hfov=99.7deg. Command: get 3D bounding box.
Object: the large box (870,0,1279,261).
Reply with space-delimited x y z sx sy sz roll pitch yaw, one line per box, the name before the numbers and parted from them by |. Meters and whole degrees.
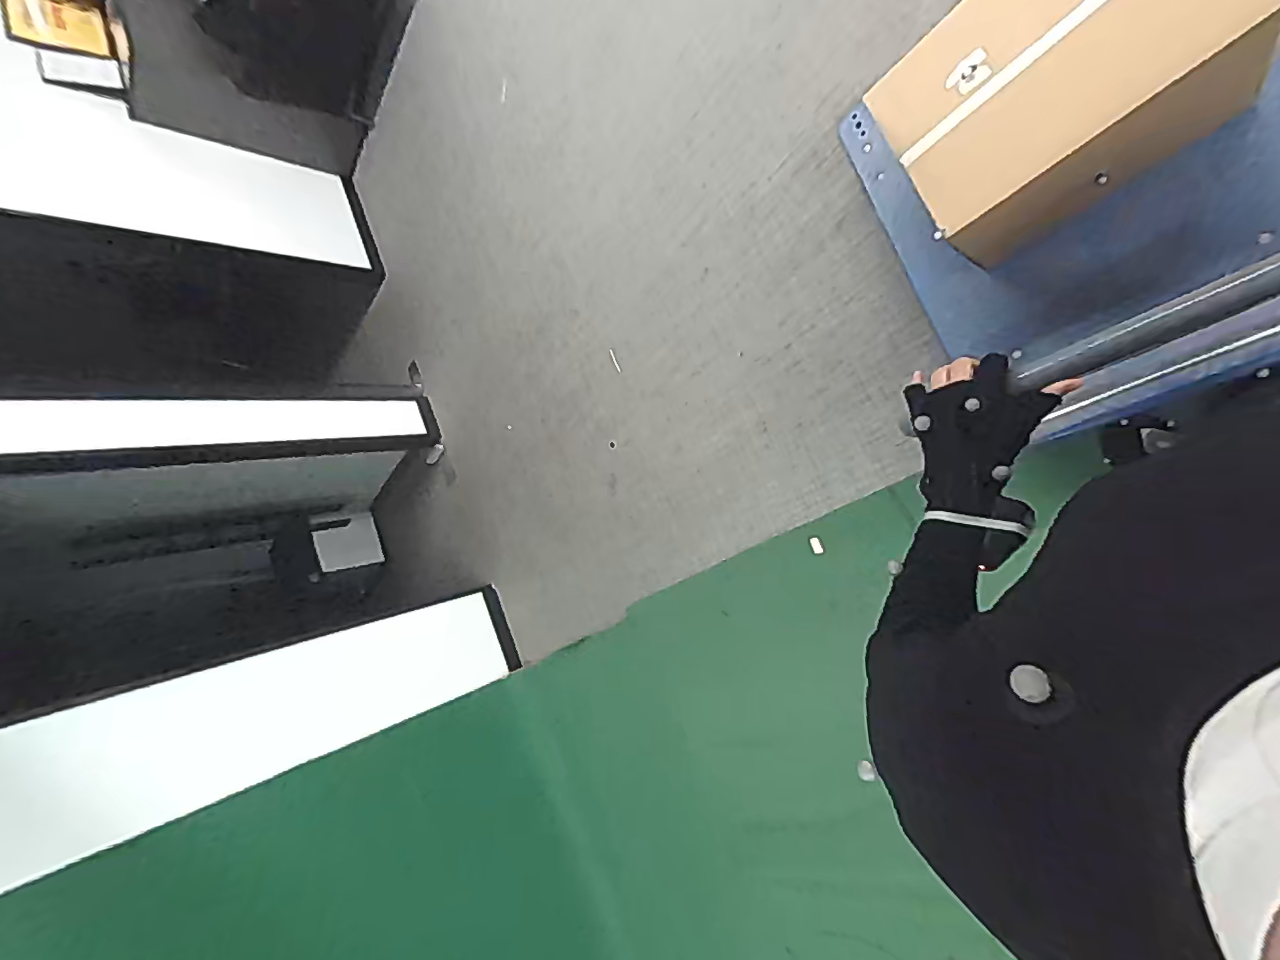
large box | 0.685 -0.642 0.896 0.408 0.320 0.320 -33 73 42
